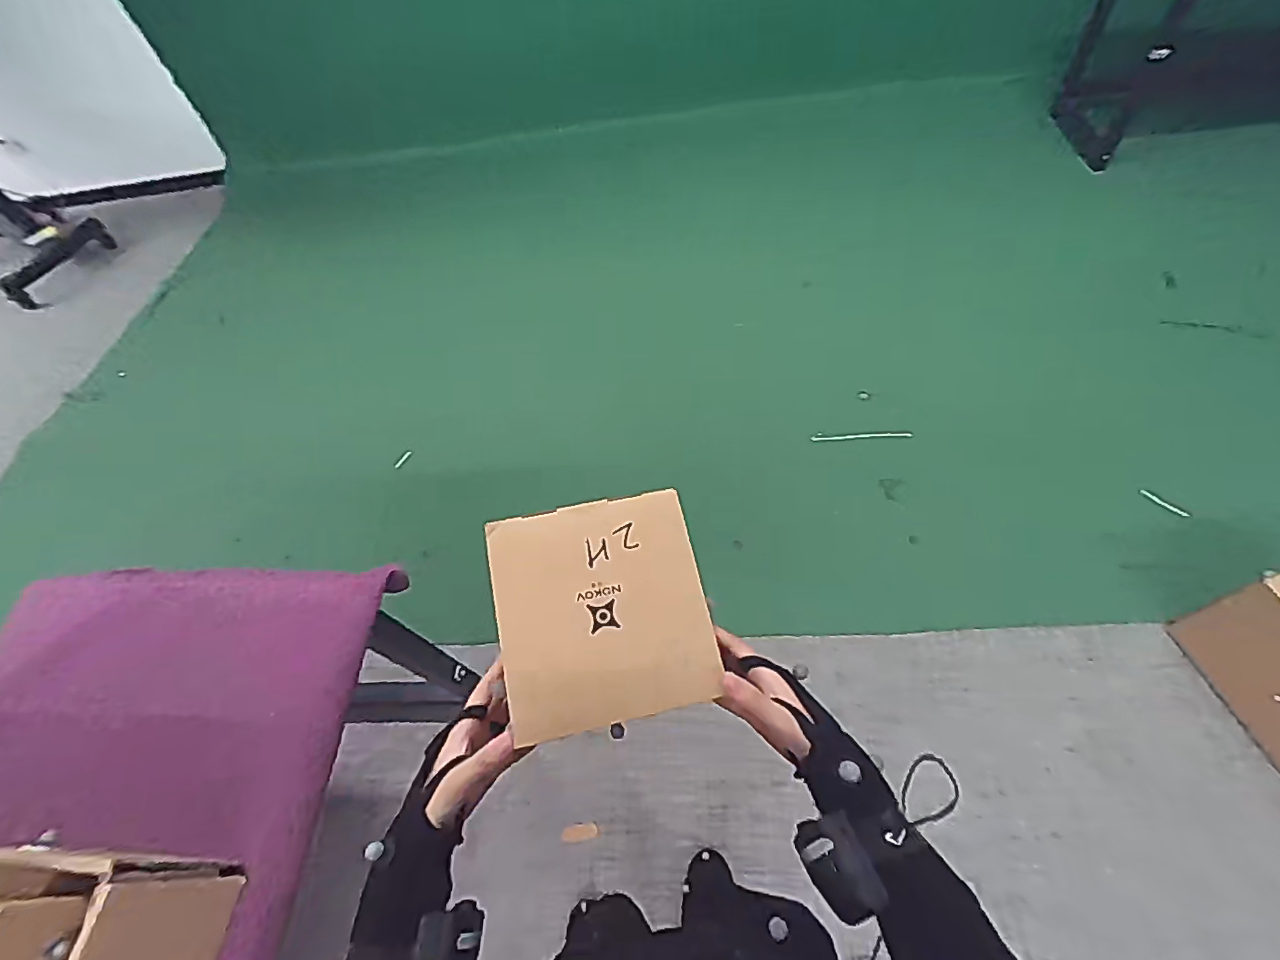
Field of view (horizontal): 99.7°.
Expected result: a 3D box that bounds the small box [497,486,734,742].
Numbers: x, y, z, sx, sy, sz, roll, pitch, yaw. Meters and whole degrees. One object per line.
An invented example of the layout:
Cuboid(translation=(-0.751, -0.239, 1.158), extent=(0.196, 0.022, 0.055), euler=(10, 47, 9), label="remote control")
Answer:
Cuboid(translation=(-0.029, 0.125, 0.499), extent=(0.168, 0.176, 0.179), euler=(-9, 68, -9), label="small box")

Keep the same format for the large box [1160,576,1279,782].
Cuboid(translation=(1.462, 0.418, 1.118), extent=(0.320, 0.320, 0.408), euler=(-14, 54, -2), label="large box")
